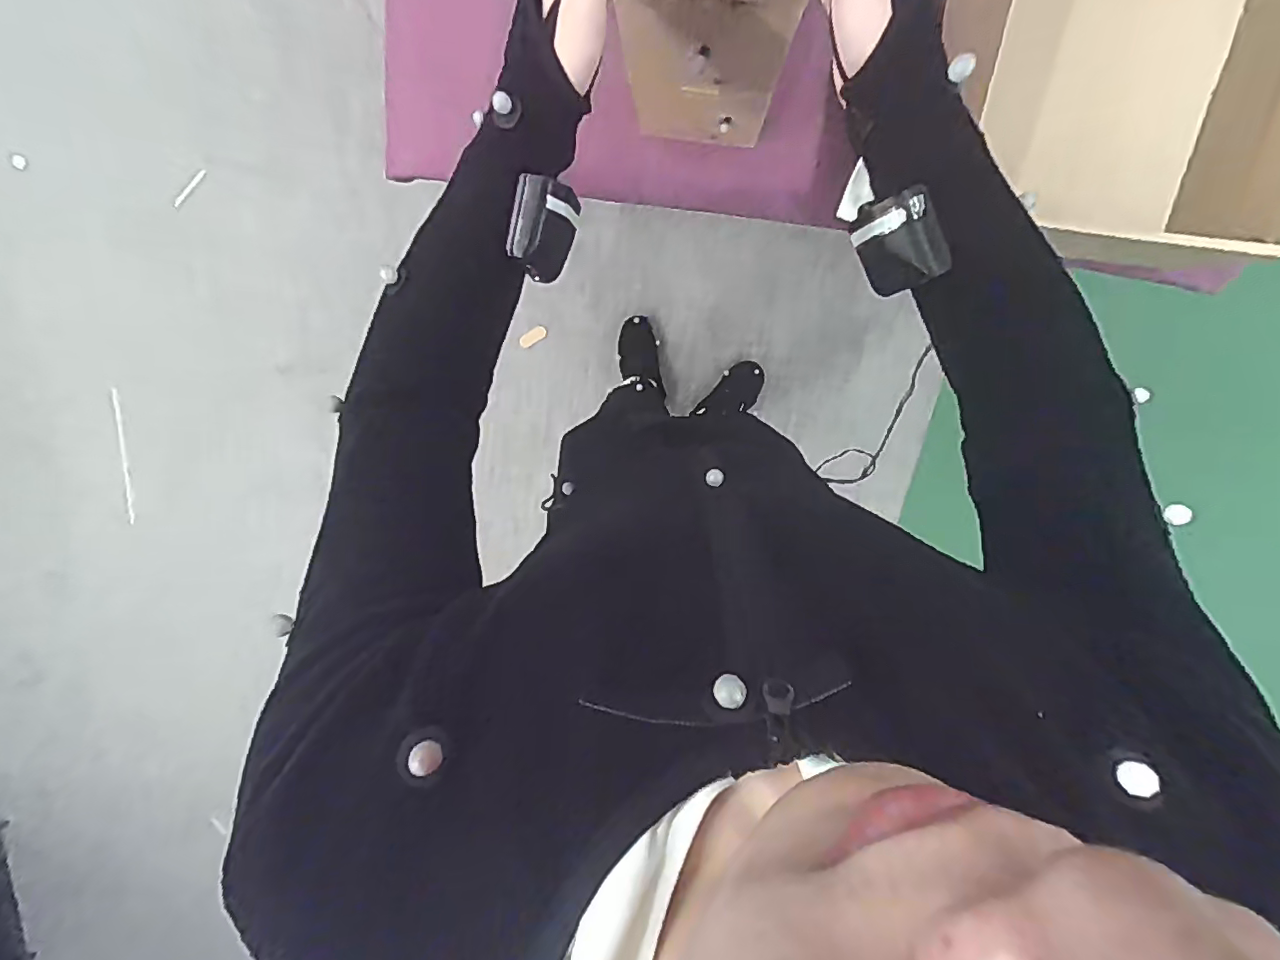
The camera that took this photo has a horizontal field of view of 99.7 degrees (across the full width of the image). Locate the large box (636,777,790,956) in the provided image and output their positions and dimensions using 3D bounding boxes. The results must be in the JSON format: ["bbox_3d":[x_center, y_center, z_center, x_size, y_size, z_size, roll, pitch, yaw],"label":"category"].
[{"bbox_3d":[0.237,1.289,1.824,0.408,0.320,0.320,-23,102,9],"label":"large box"}]

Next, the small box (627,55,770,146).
[{"bbox_3d":[0.084,-0.542,0.668,0.168,0.176,0.179,9,104,2],"label":"small box"}]

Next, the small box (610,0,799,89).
[{"bbox_3d":[0.071,-0.506,0.510,0.168,0.176,0.179,8,105,2],"label":"small box"}]
